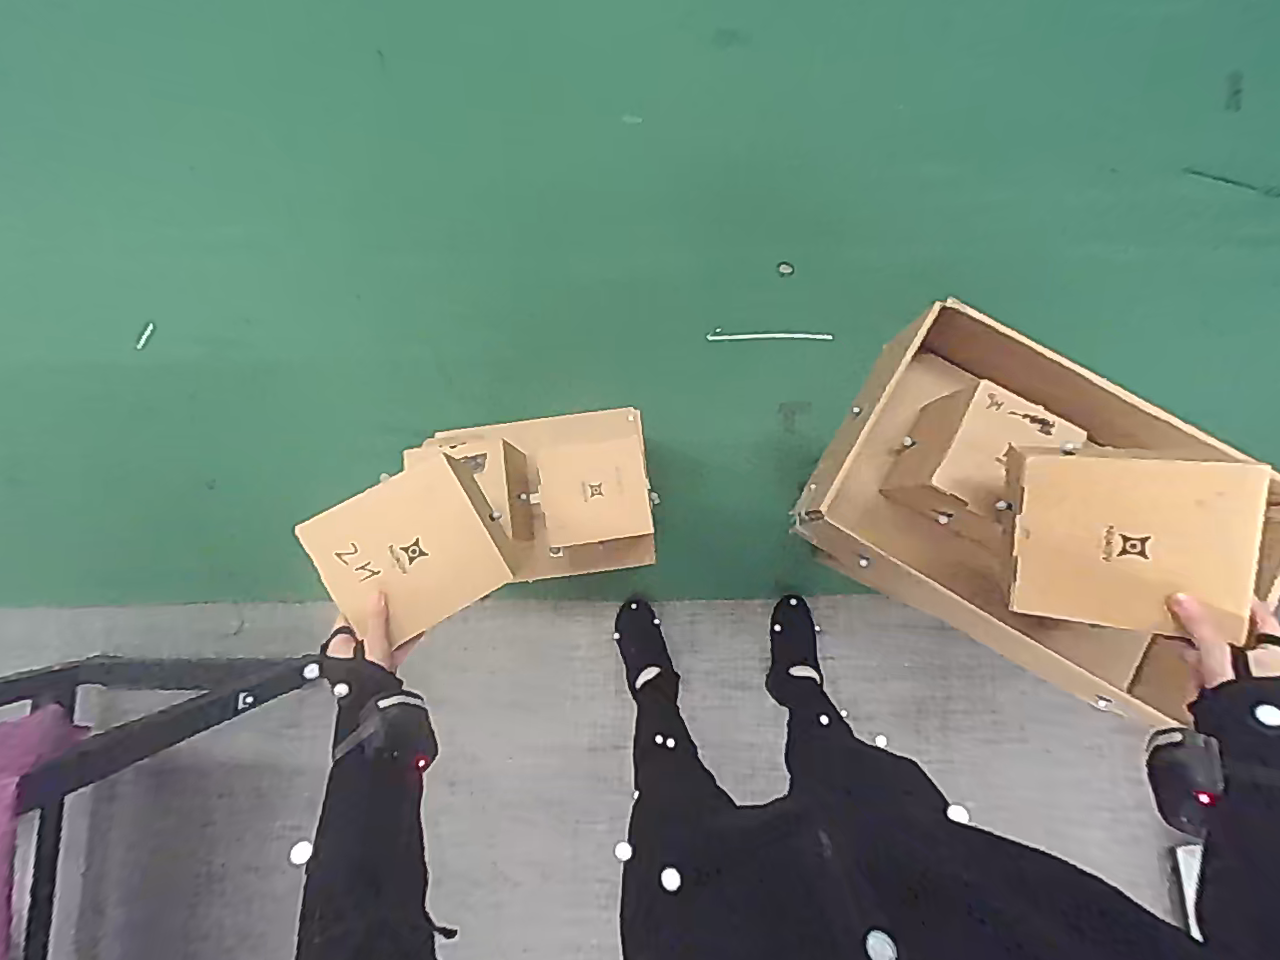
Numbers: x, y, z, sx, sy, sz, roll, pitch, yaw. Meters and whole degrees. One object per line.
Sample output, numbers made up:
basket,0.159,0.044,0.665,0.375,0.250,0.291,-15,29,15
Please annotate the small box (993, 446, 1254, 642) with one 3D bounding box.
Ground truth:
small box,0.490,0.051,0.580,0.179,0.176,0.168,2,98,32

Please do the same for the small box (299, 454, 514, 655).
small box,-0.269,0.084,0.673,0.179,0.176,0.168,-29,90,-9

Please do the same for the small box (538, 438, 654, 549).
small box,-0.071,0.030,0.957,0.179,0.176,0.168,-8,85,0

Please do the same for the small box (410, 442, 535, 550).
small box,-0.289,0.041,0.961,0.168,0.176,0.179,-7,84,1
